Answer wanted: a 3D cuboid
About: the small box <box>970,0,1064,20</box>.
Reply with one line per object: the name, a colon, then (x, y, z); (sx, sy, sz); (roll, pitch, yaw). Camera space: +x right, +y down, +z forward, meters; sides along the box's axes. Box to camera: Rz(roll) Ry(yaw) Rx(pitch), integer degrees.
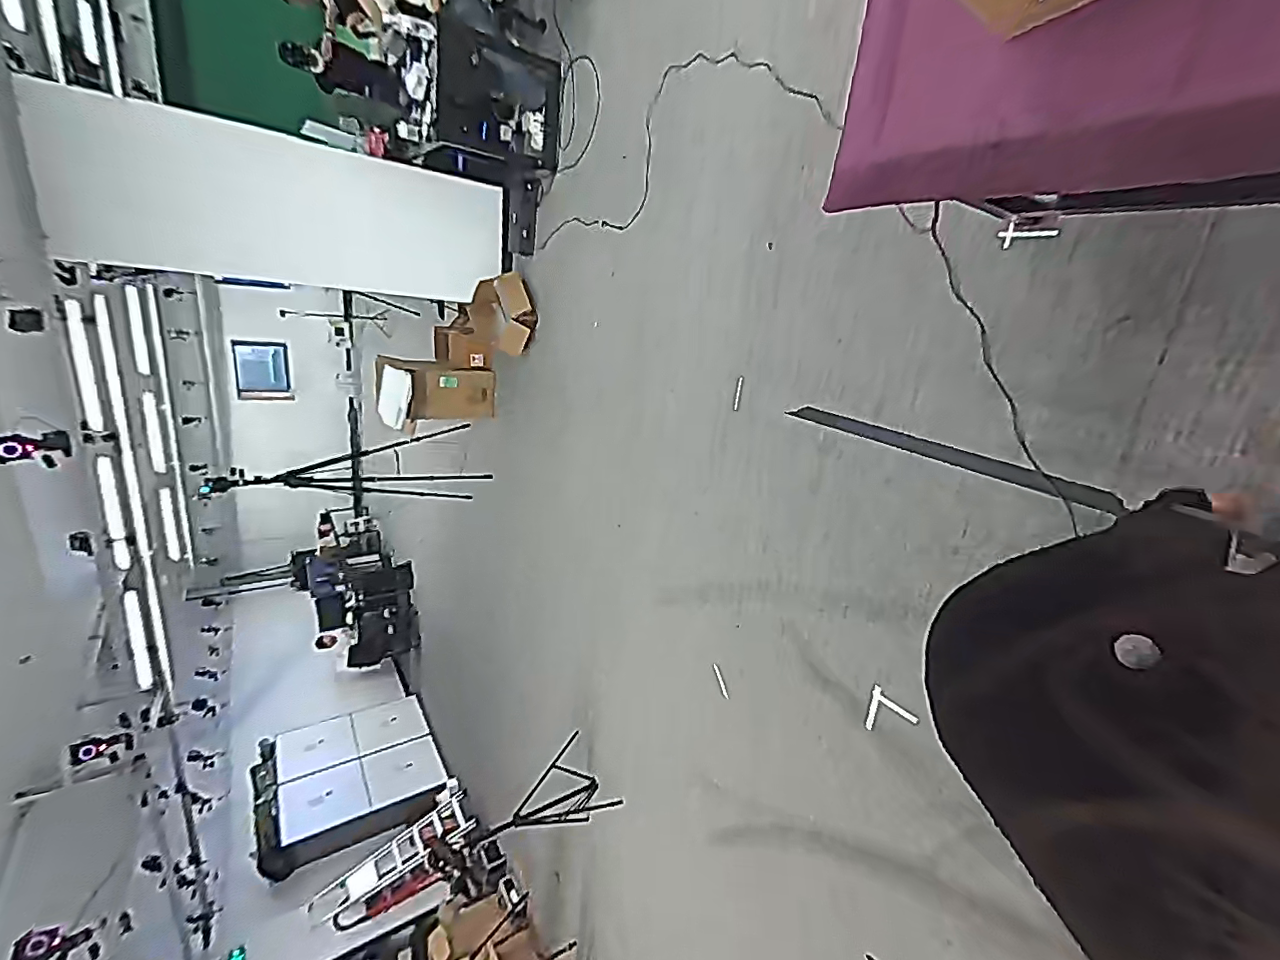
small box: (0.499, -0.696, 0.641); (0.168, 0.176, 0.179); (16, 108, 53)
